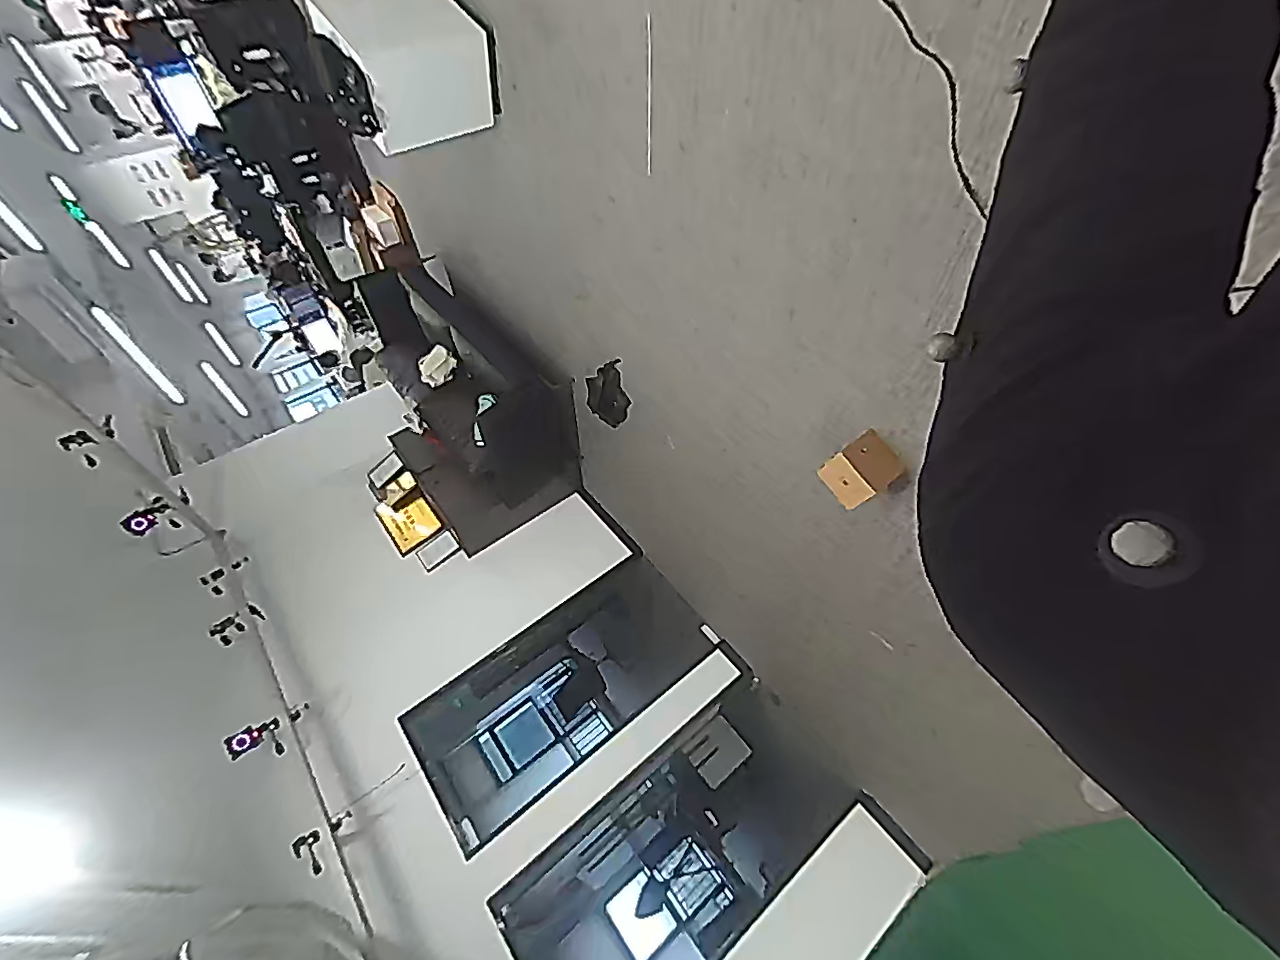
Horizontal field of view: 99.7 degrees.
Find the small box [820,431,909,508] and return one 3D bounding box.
[{"bbox_3d":[0.750,-0.043,1.811,0.179,0.176,0.168,51,158,13],"label":"small box"}]
